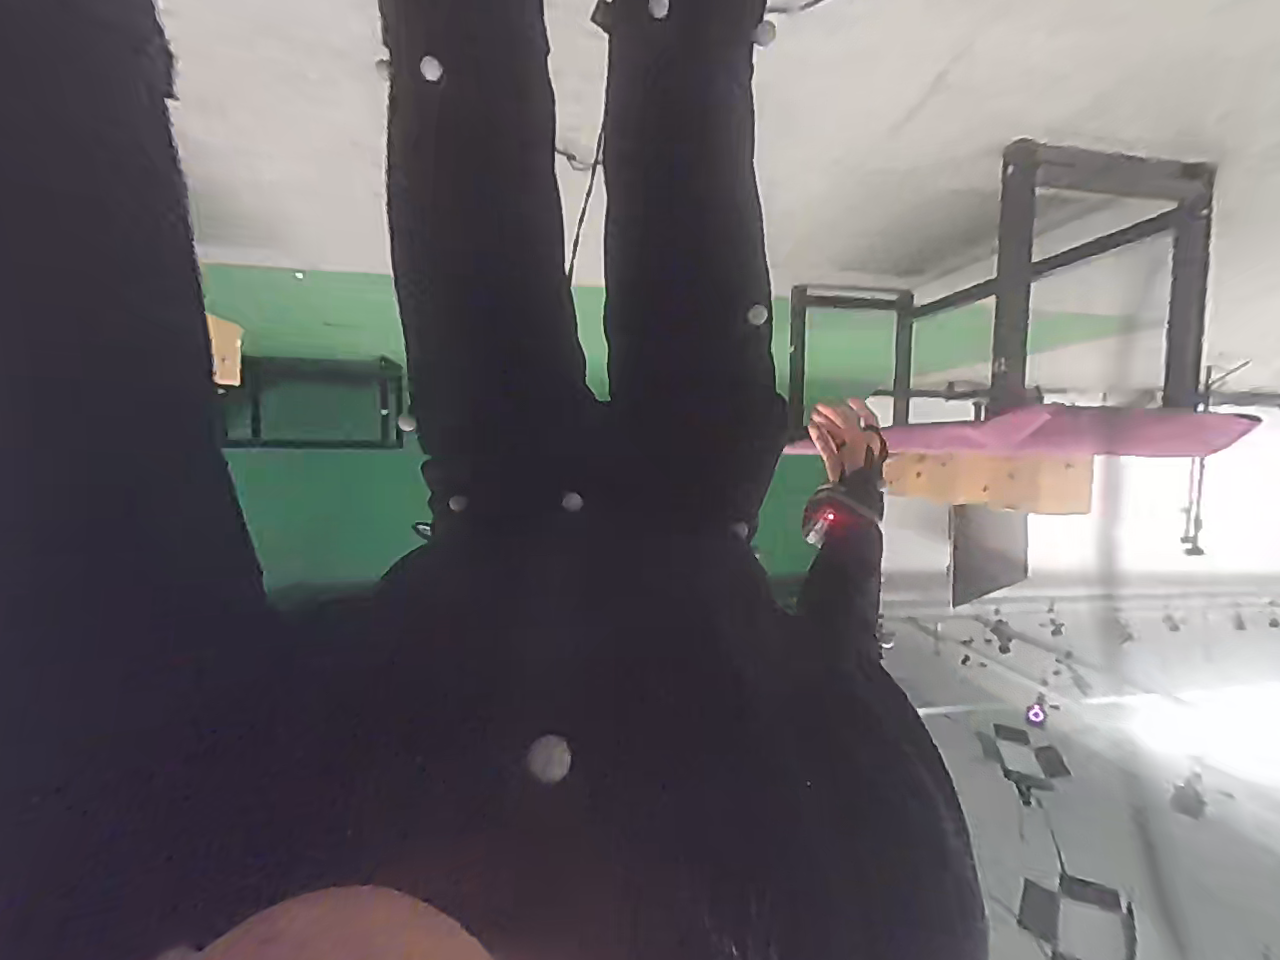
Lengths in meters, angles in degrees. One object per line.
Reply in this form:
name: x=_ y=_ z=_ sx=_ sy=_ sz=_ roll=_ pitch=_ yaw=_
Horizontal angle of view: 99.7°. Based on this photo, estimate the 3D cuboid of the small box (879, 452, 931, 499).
small box: x=1.017 y=-0.020 z=2.017 sx=0.168 sy=0.176 sz=0.179 roll=1 pitch=-177 yaw=-14

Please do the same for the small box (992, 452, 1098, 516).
small box: x=1.119 y=0.007 z=1.500 sx=0.179 sy=0.176 sz=0.168 roll=1 pitch=-177 yaw=-11

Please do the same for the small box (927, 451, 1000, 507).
small box: x=1.072 y=-0.006 z=1.764 sx=0.179 sy=0.176 sz=0.168 roll=2 pitch=-178 yaw=-6

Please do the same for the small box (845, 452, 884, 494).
small box: x=0.964 y=-0.032 z=2.270 sx=0.168 sy=0.176 sz=0.179 roll=1 pitch=-177 yaw=11
